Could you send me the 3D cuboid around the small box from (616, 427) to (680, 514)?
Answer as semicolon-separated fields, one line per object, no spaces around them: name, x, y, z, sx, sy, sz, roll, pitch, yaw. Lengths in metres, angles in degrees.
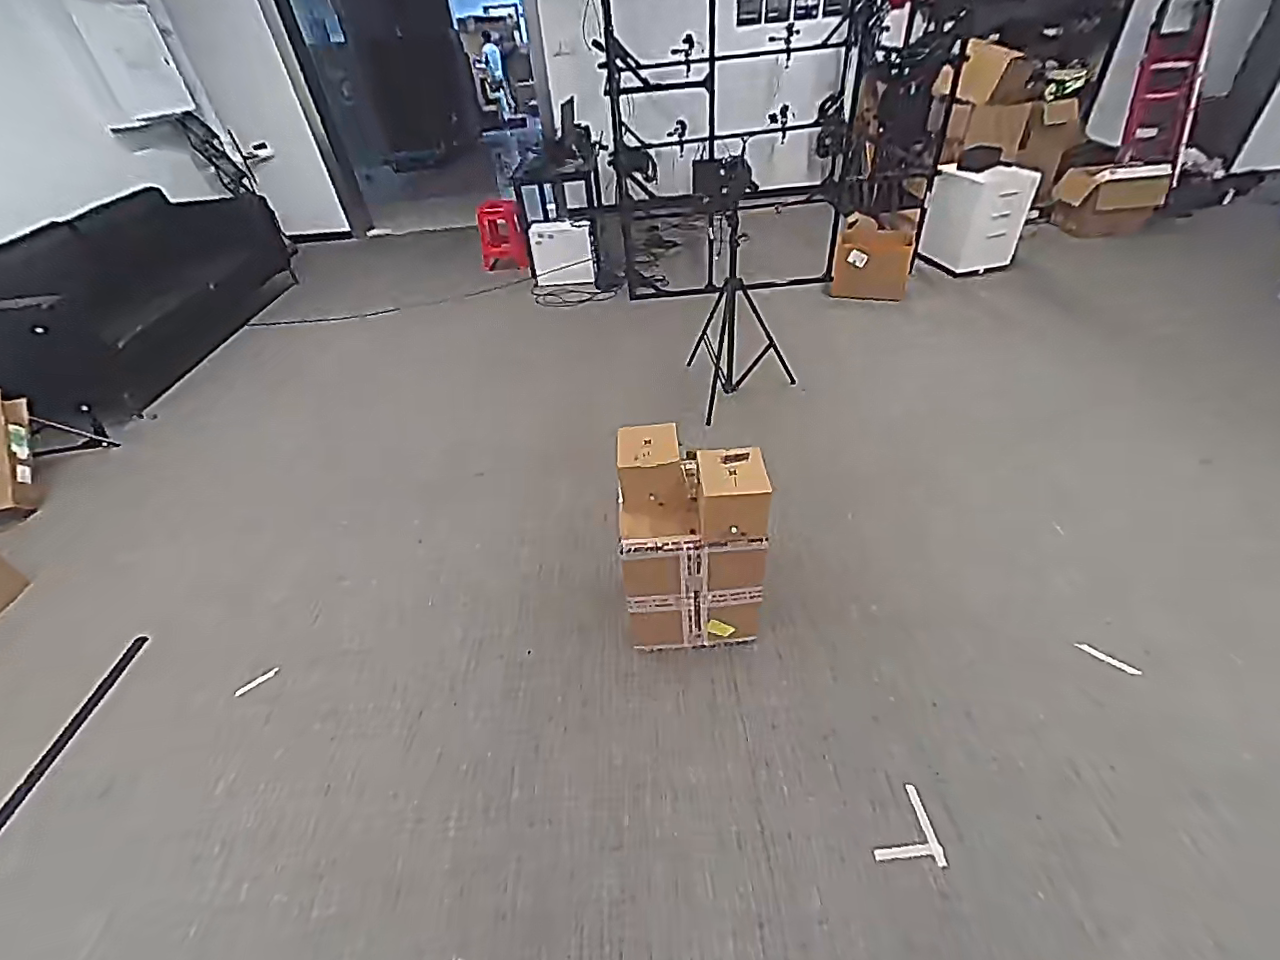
small box;0.023;-0.025;1.516;0.168;0.176;0.179;-5;42;3

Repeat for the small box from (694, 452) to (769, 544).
small box;0.231;0.047;1.412;0.168;0.176;0.179;-4;43;1
